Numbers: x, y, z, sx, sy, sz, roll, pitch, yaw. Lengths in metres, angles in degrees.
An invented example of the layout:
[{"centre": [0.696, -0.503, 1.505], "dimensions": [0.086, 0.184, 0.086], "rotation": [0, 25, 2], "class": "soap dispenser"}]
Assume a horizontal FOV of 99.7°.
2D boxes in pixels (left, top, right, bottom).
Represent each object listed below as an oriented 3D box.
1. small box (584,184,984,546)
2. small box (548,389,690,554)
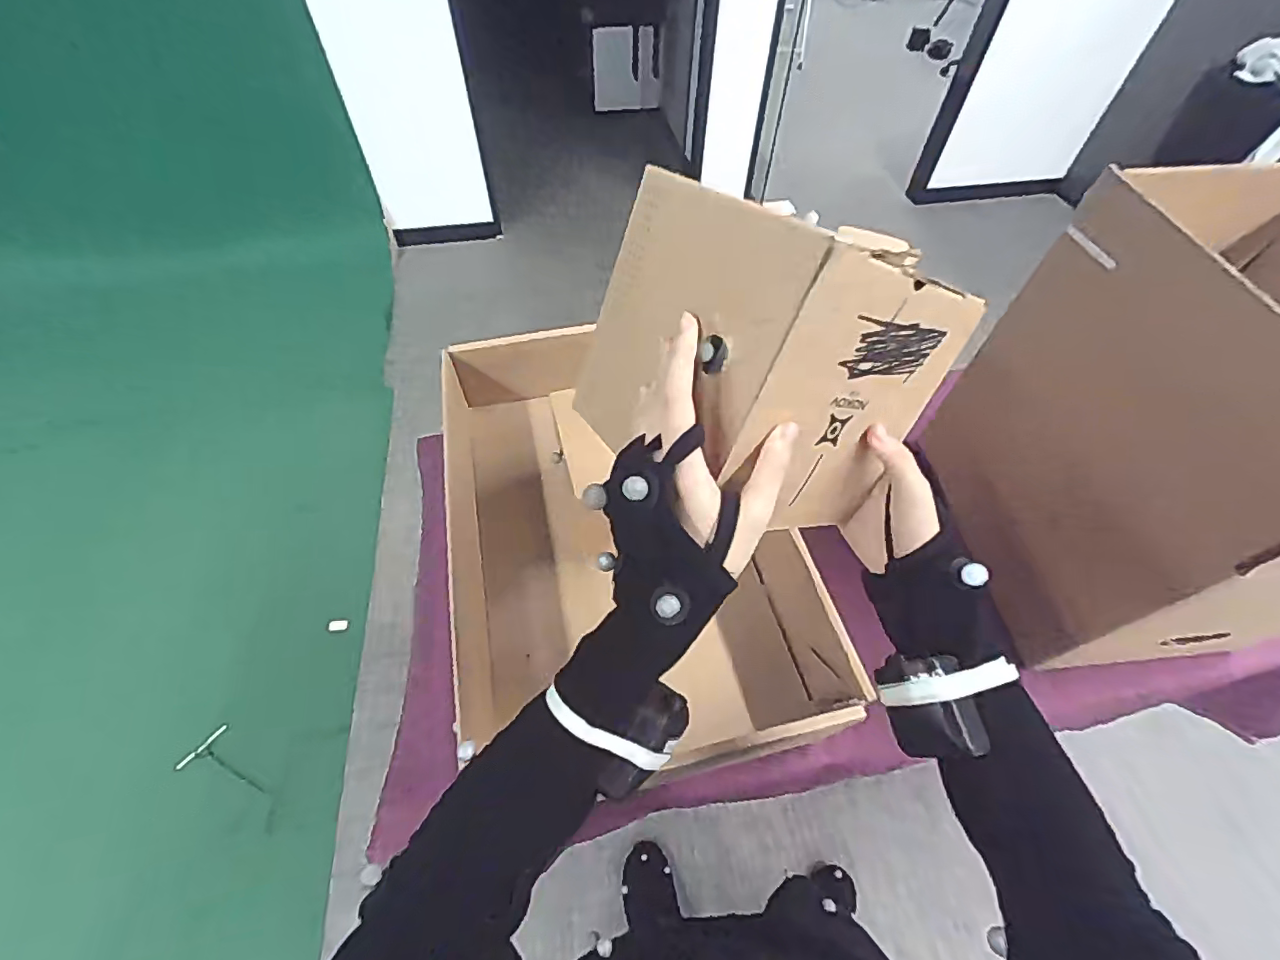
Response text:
[{"centre": [0.081, -0.080, 0.378], "dimensions": [0.168, 0.179, 0.176], "rotation": [-1, 37, -37], "class": "small box"}, {"centre": [-0.020, -0.015, 0.745], "dimensions": [0.168, 0.176, 0.179], "rotation": [-14, 57, -9], "class": "small box"}]
